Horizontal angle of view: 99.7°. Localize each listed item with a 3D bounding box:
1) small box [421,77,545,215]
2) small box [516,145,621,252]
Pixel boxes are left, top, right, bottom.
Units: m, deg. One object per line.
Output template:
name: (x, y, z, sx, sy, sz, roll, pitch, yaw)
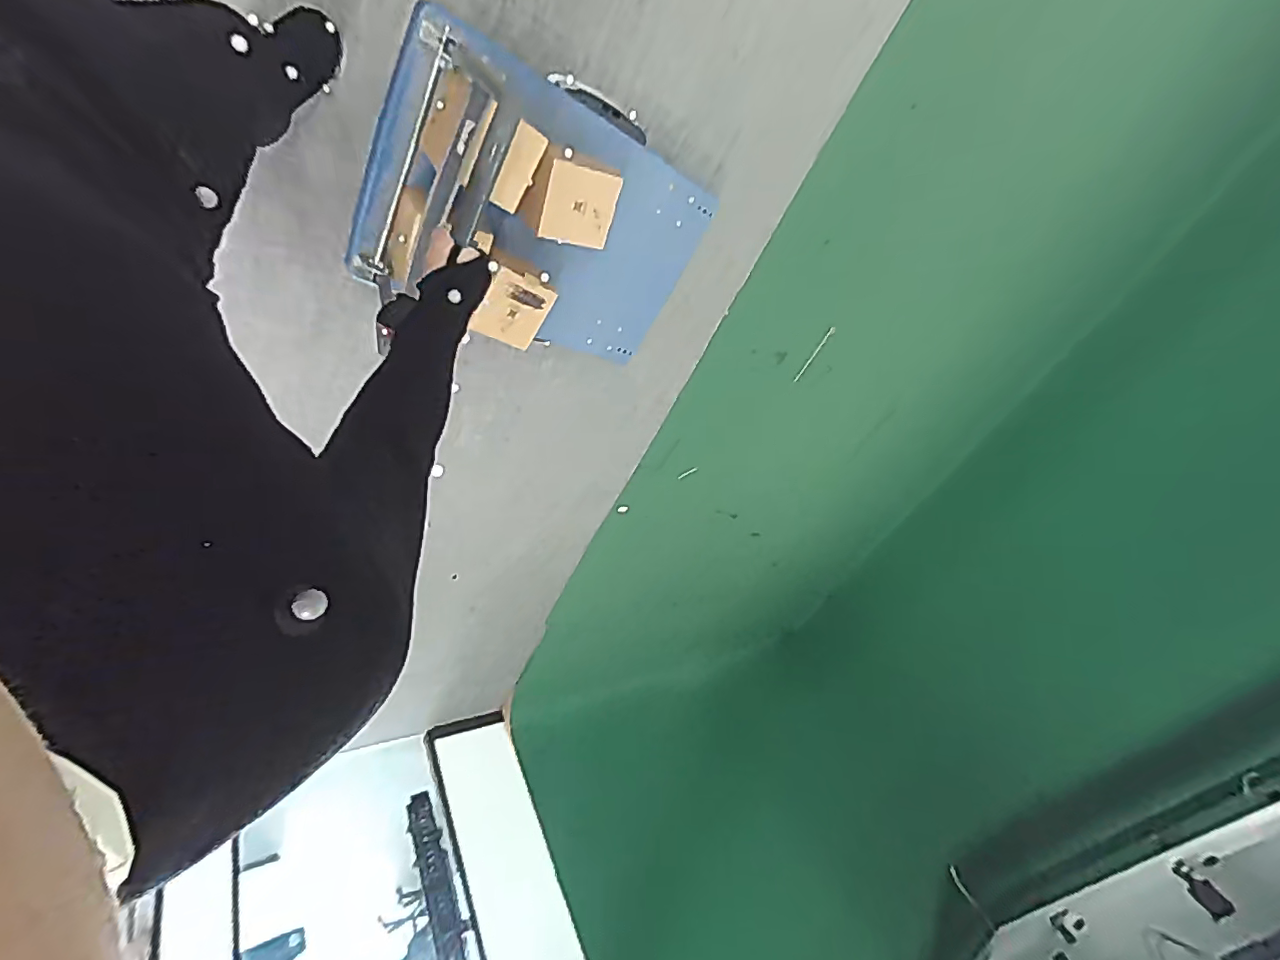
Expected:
small box: (-0.333, -0.700, 1.131, 0.179, 0.176, 0.168, 13, 123, -43)
small box: (-0.177, -0.667, 1.277, 0.179, 0.176, 0.168, -3, 134, -34)
